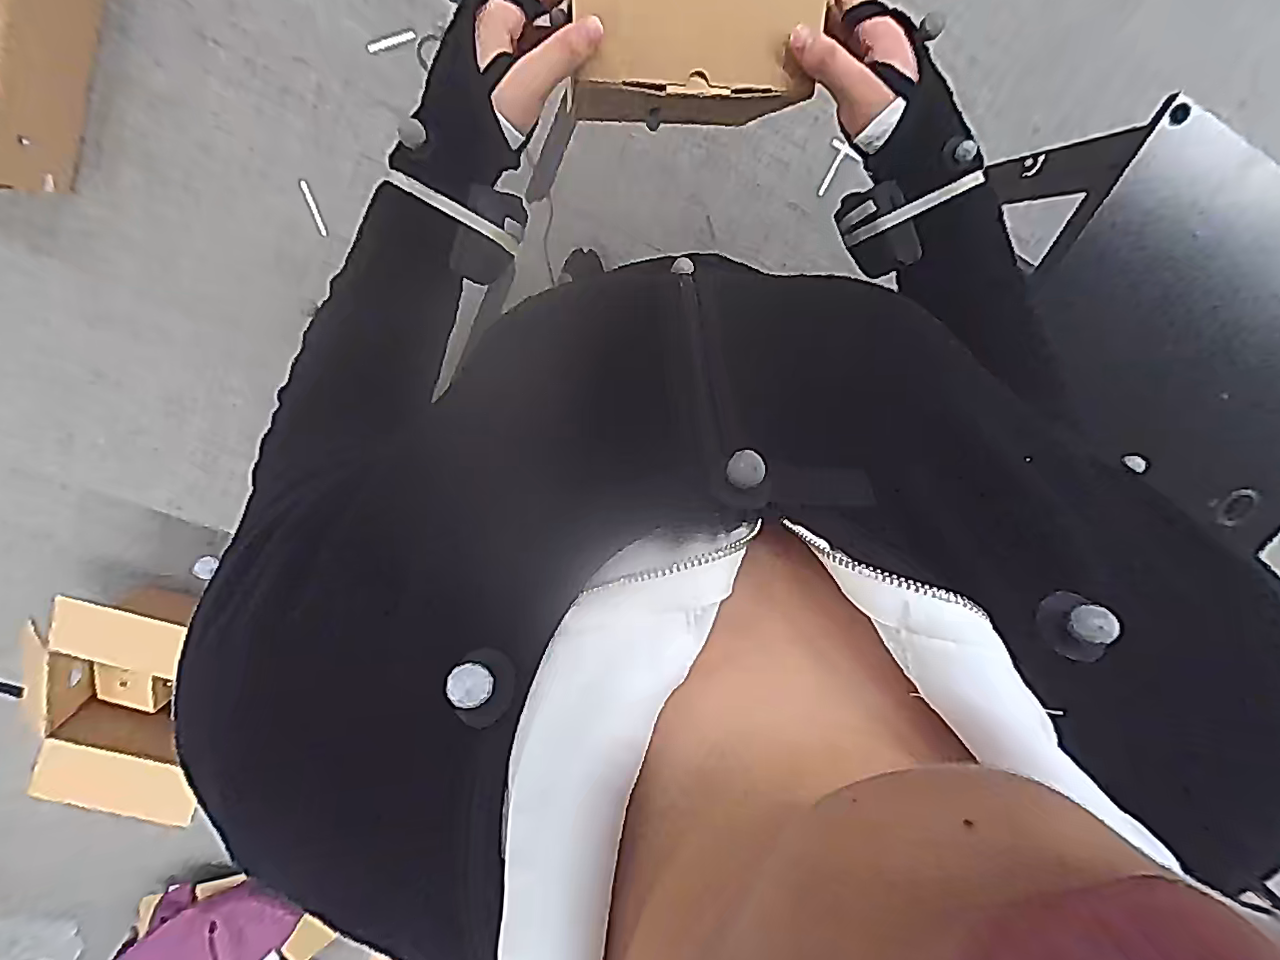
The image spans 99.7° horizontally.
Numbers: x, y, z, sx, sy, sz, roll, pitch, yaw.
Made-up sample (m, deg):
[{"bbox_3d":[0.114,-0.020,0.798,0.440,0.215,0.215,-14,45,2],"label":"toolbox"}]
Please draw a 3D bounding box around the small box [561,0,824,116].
[{"bbox_3d":[0.027,-0.379,0.388,0.168,0.176,0.179,-3,119,-7],"label":"small box"}]
